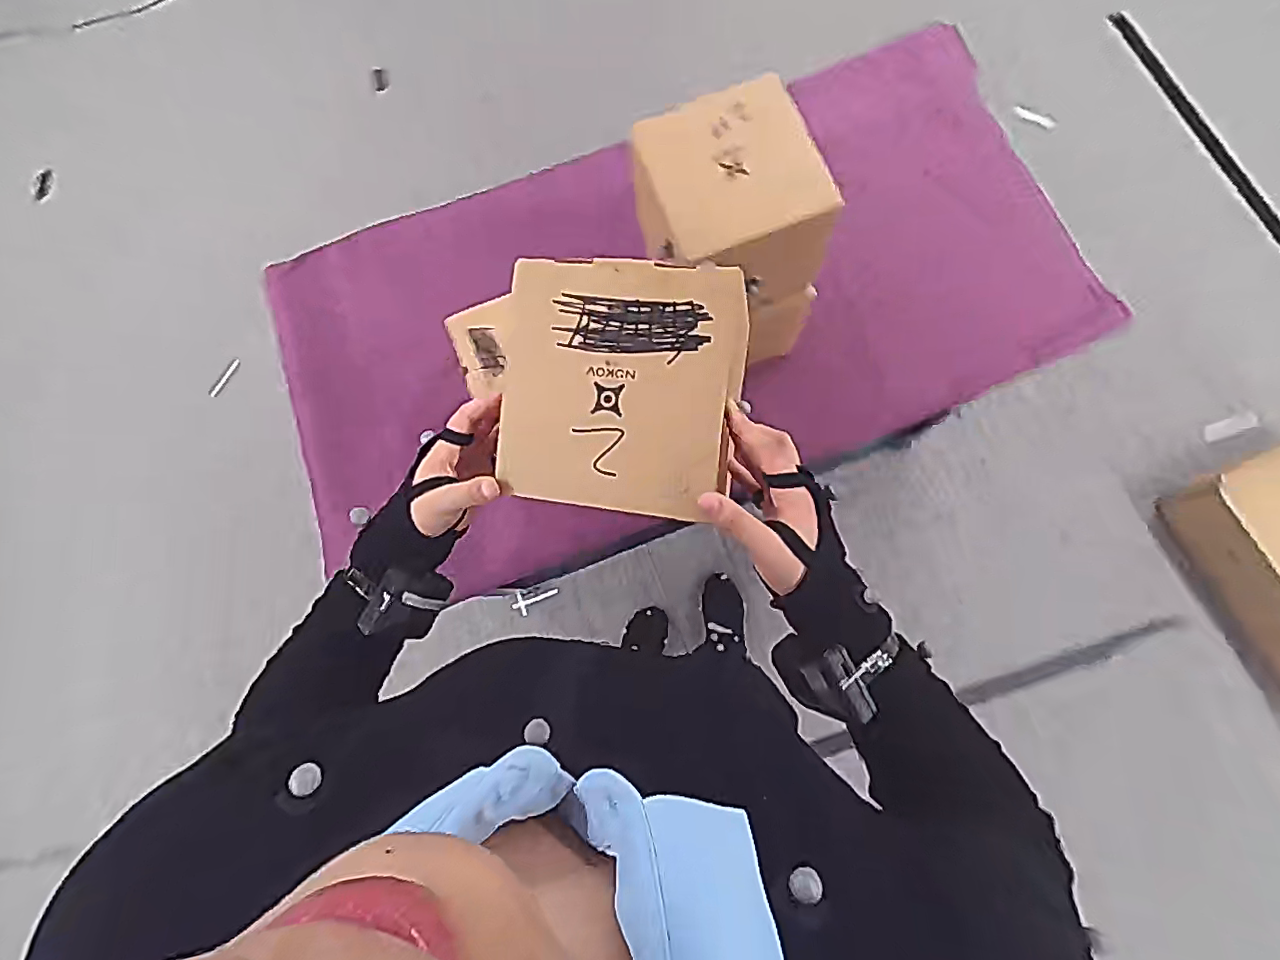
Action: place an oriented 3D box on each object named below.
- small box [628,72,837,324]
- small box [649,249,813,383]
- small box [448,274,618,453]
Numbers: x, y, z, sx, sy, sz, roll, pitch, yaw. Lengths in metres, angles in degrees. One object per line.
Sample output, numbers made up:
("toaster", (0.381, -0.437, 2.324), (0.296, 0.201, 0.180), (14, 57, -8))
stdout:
("small box", (0.098, -0.304, 0.624), (0.168, 0.176, 0.179), (-21, 77, 0))
("small box", (0.120, -0.265, 0.783), (0.179, 0.176, 0.168), (-21, 77, 1))
("small box", (-0.144, -0.155, 0.779), (0.179, 0.176, 0.168), (-21, 77, -1))
